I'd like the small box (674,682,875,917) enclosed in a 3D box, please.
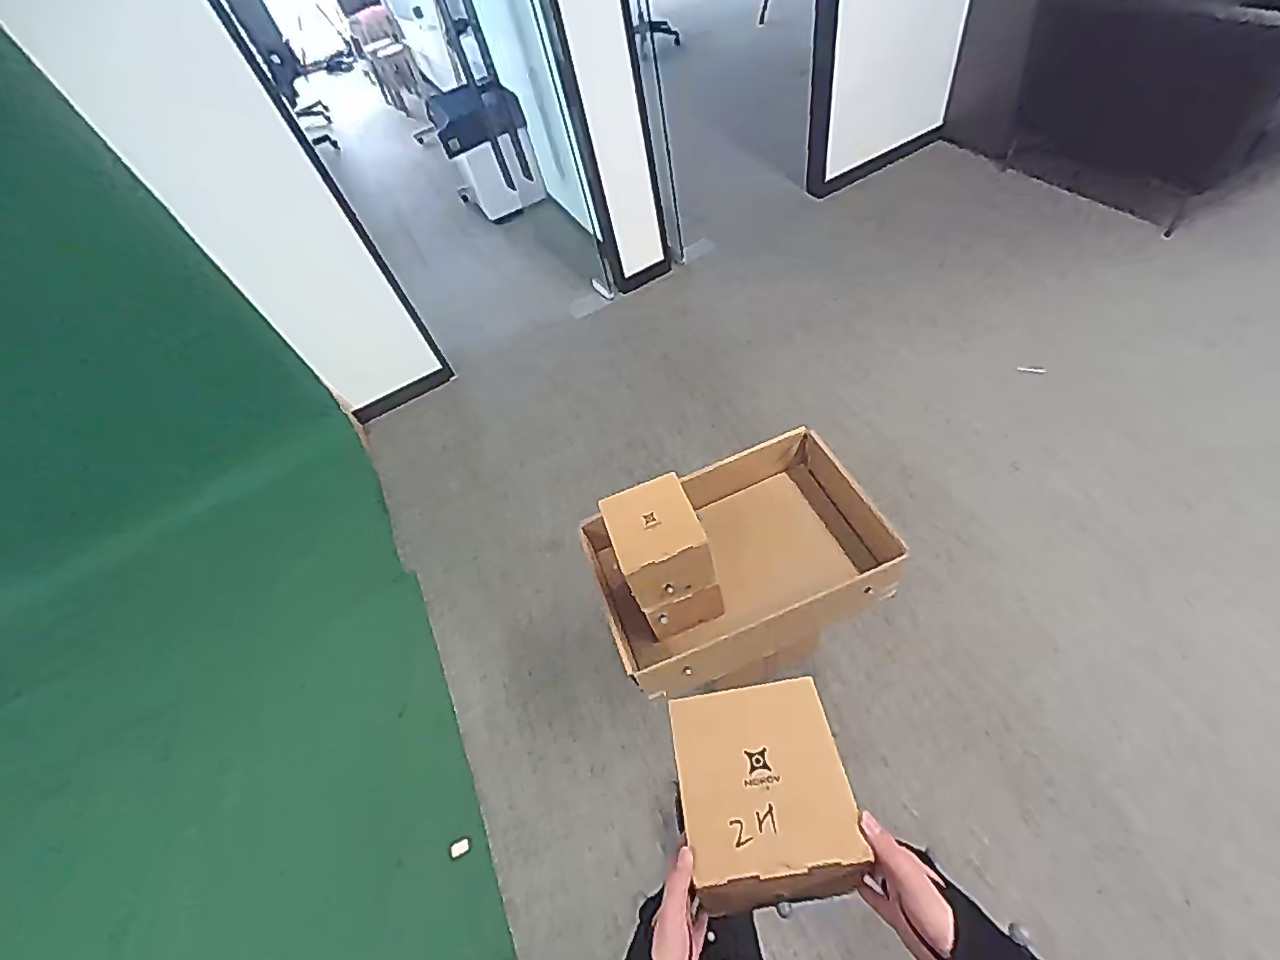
[{"bbox_3d":[0.135,0.353,0.599,0.168,0.176,0.179,-10,44,3],"label":"small box"}]

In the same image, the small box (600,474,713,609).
[{"bbox_3d":[0.036,0.124,1.066,0.168,0.176,0.179,-21,54,-3],"label":"small box"}]
